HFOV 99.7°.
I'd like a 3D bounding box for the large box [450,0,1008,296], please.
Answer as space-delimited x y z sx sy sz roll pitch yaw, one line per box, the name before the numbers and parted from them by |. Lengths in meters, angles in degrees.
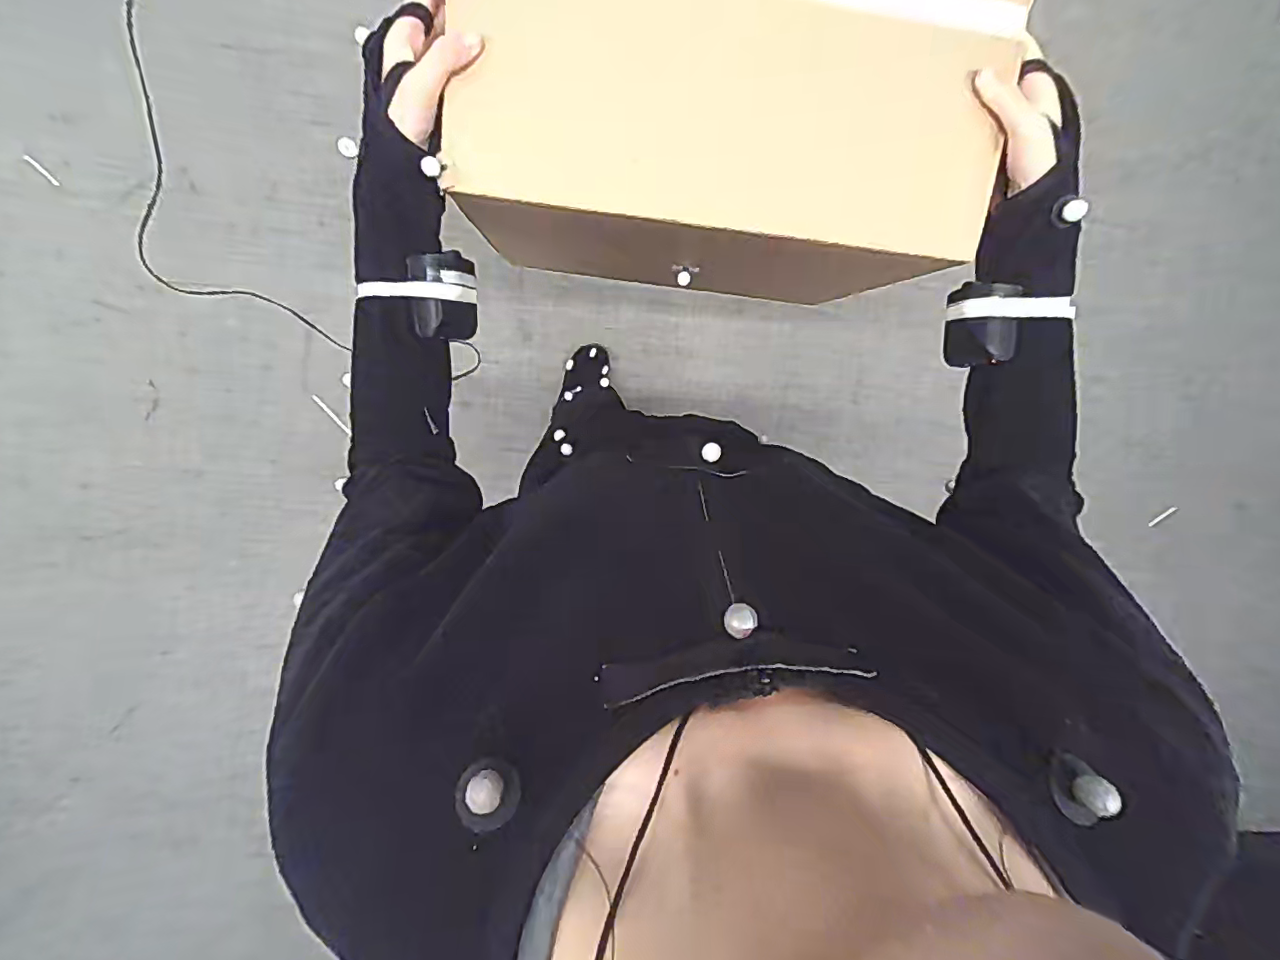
large box | 0.062 -0.374 0.533 0.408 0.320 0.320 6 101 -5
